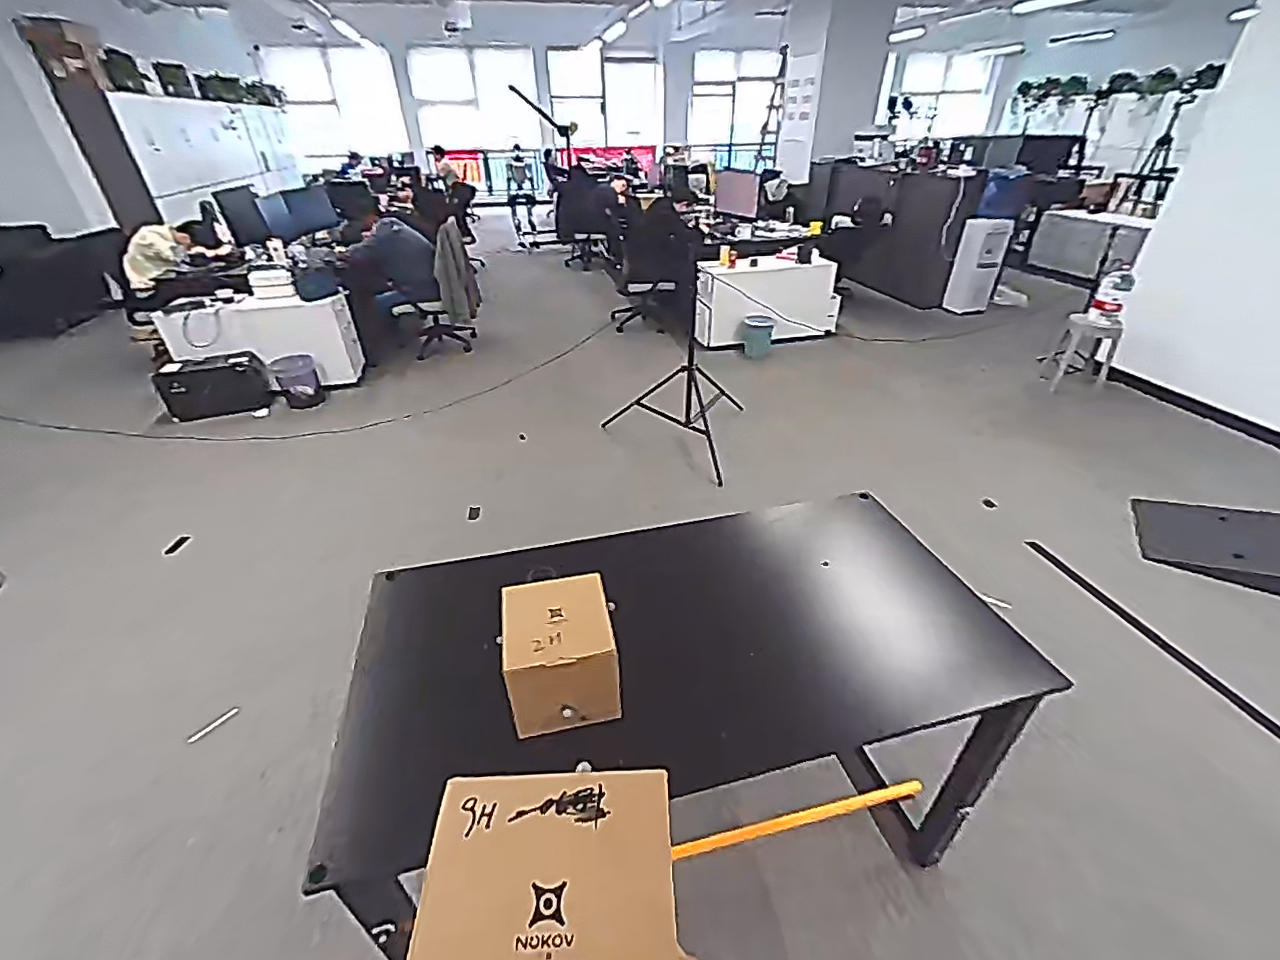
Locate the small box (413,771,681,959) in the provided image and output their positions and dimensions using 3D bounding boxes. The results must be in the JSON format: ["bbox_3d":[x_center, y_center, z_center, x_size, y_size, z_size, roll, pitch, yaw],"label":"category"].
[{"bbox_3d":[-0.054,0.338,0.396,0.168,0.176,0.179,-3,43,0],"label":"small box"}]

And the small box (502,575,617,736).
[{"bbox_3d":[-0.134,0.287,0.900,0.168,0.176,0.179,-8,34,-9],"label":"small box"}]
